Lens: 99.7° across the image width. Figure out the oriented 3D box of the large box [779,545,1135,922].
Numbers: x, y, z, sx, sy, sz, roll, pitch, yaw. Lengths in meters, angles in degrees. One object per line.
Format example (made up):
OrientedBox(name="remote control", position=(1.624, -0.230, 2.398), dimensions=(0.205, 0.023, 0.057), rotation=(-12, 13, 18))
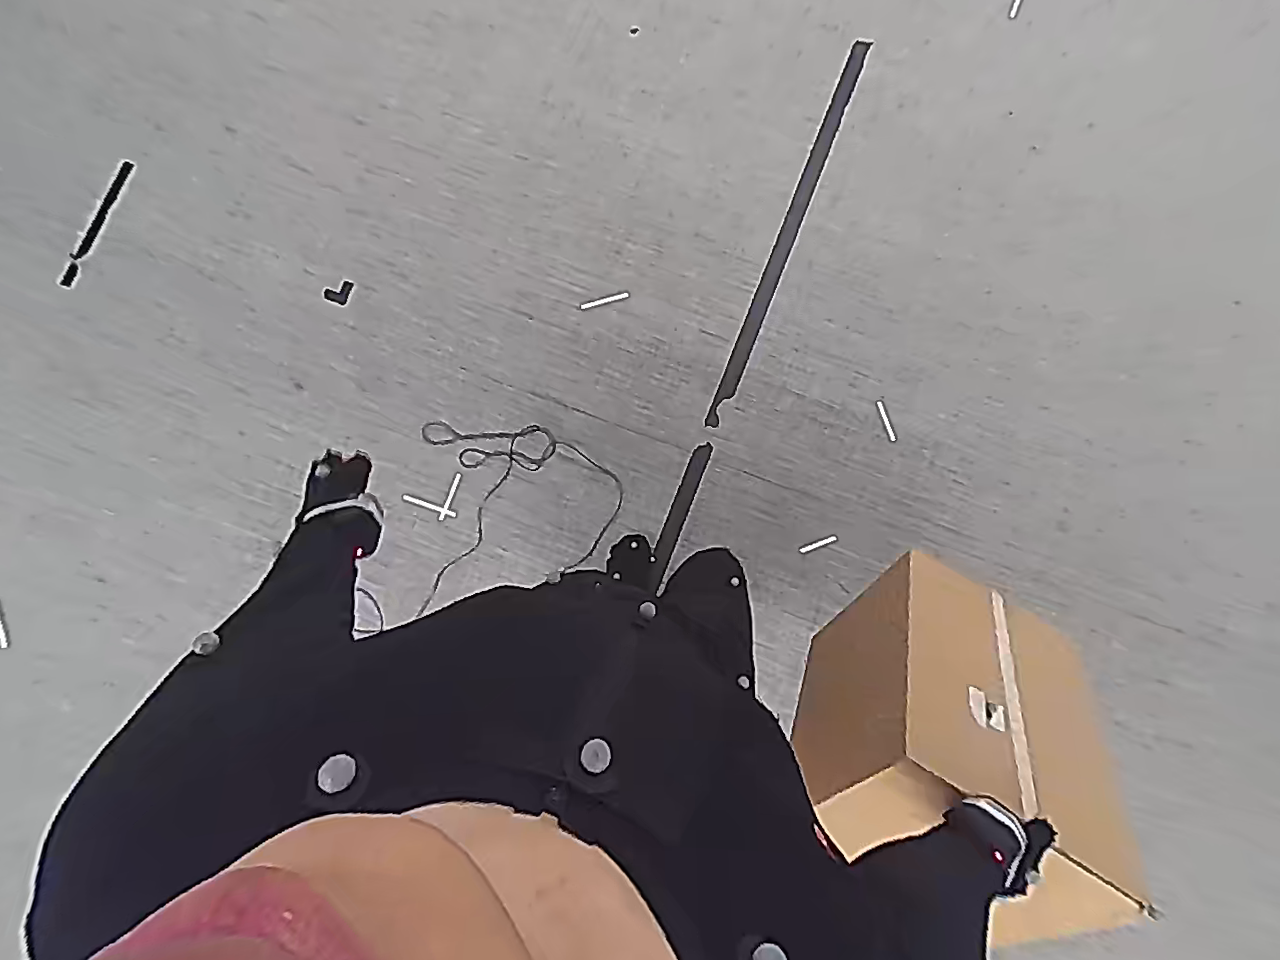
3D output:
OrientedBox(name="large box", position=(0.467, 0.393, 0.879), dimensions=(0.320, 0.320, 0.408), rotation=(31, 42, 5))
